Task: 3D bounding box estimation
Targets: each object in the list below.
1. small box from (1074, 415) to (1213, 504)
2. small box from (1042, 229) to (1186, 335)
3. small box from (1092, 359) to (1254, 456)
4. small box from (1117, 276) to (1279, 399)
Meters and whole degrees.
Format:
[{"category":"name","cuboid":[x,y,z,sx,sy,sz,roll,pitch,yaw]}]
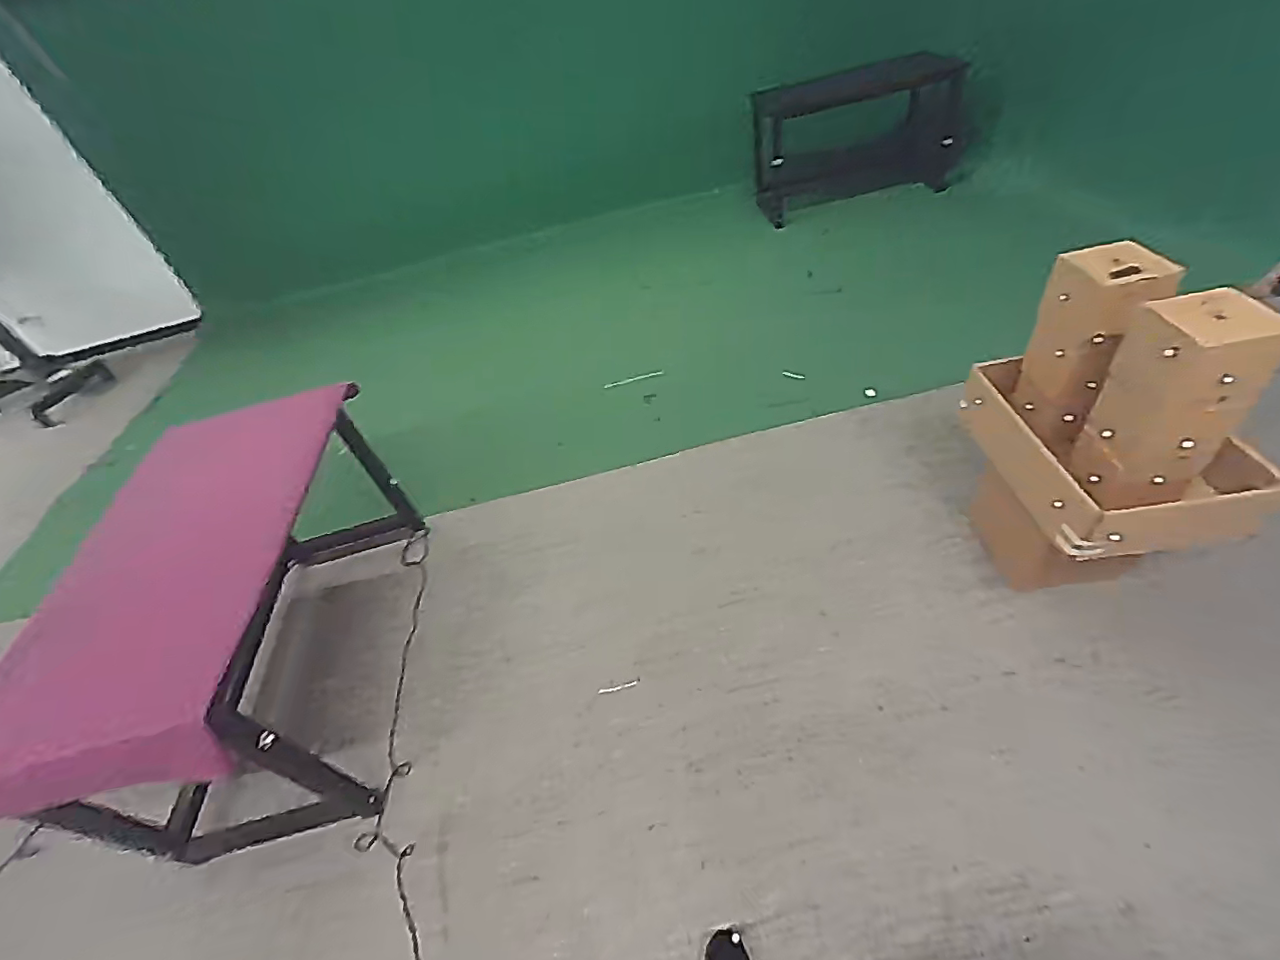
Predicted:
[{"category":"small box","cuboid":[1.205,-0.056,1.319,0.179,0.176,0.168,-7,46,10]},{"category":"small box","cuboid":[1.103,-0.459,1.276,0.168,0.176,0.179,-10,44,6]},{"category":"small box","cuboid":[1.169,-0.167,1.206,0.168,0.176,0.179,-8,47,10]},{"category":"small box","cuboid":[1.128,-0.278,1.090,0.168,0.176,0.179,-9,45,8]}]
